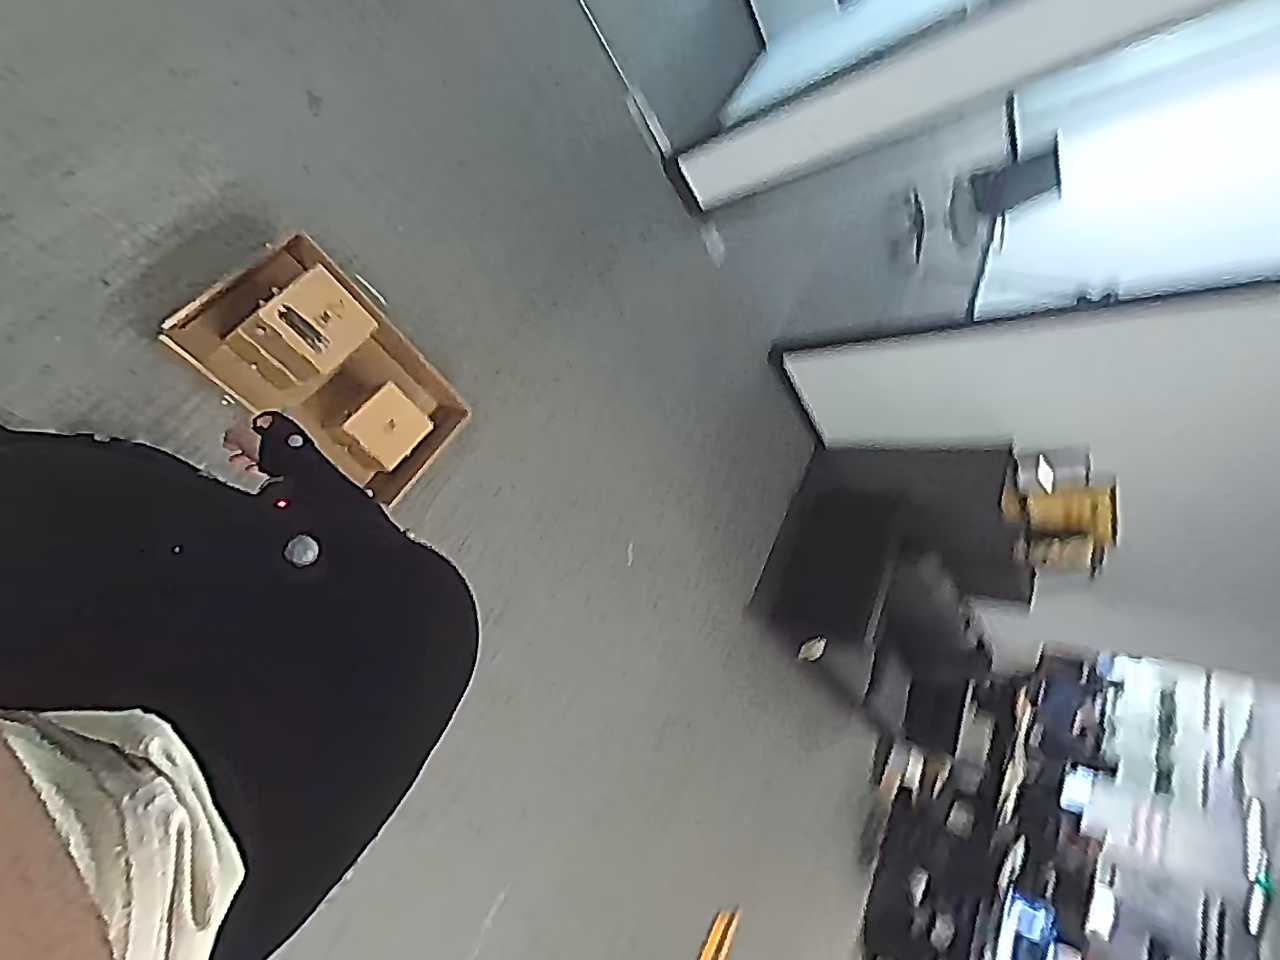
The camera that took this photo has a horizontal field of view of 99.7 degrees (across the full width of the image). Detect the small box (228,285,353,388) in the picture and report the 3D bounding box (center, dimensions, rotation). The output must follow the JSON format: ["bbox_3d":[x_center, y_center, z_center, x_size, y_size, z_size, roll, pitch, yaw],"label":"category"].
[{"bbox_3d":[-0.853,-0.343,1.316,0.168,0.176,0.179,54,55,-34],"label":"small box"}]
